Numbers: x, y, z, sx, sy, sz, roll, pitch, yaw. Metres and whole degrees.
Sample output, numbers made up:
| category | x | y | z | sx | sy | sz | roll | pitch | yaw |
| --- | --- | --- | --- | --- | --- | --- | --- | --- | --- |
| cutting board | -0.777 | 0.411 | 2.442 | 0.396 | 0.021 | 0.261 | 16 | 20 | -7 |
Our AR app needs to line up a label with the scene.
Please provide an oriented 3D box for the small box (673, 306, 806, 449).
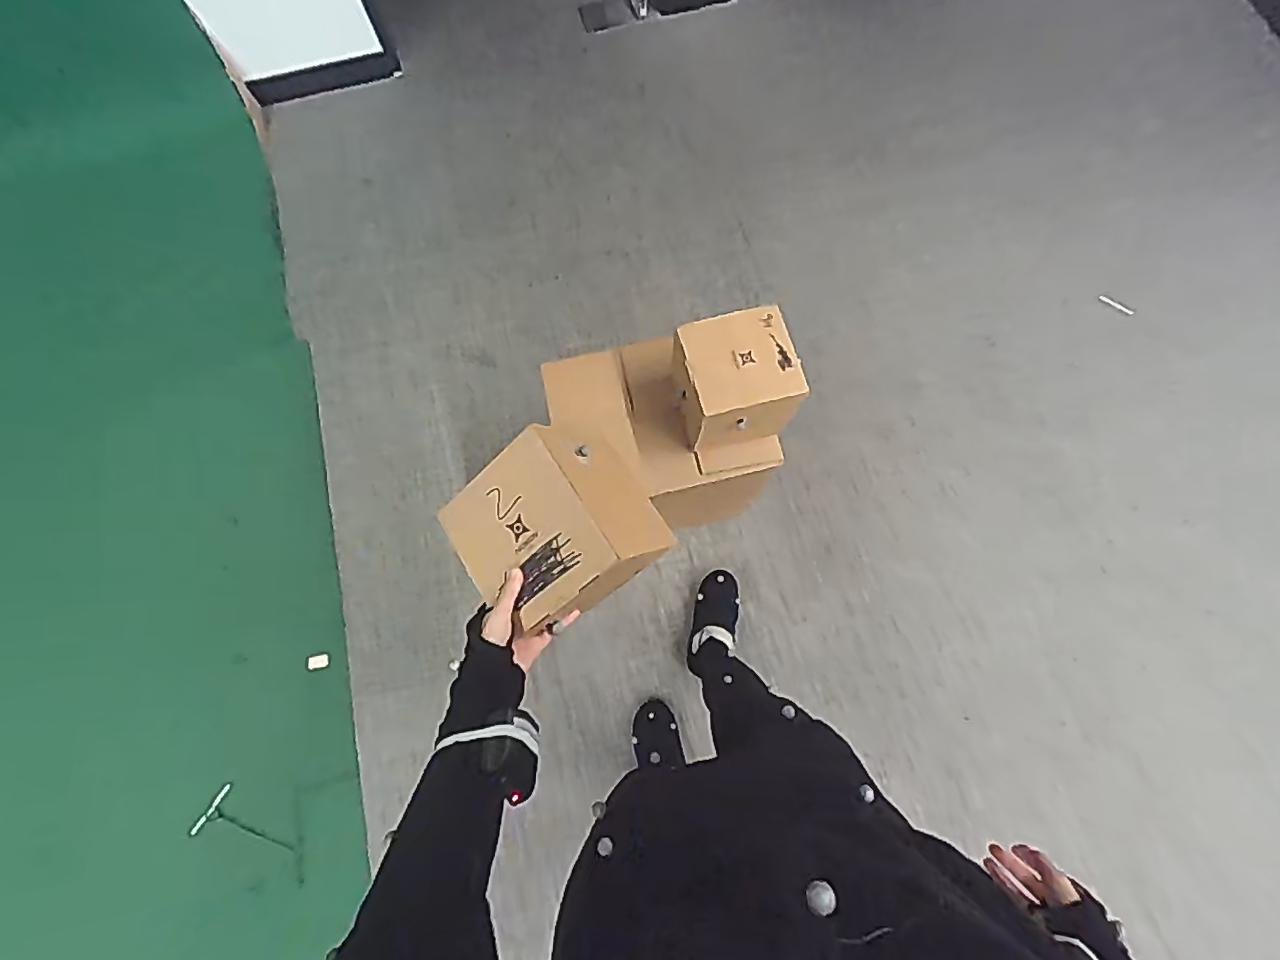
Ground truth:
| category | x | y | z | sx | sy | sz | roll | pitch | yaw |
| --- | --- | --- | --- | --- | --- | --- | --- | --- | --- |
| small box | 0.160 | -0.167 | 0.934 | 0.179 | 0.176 | 0.168 | -14 | 76 | -2 |
